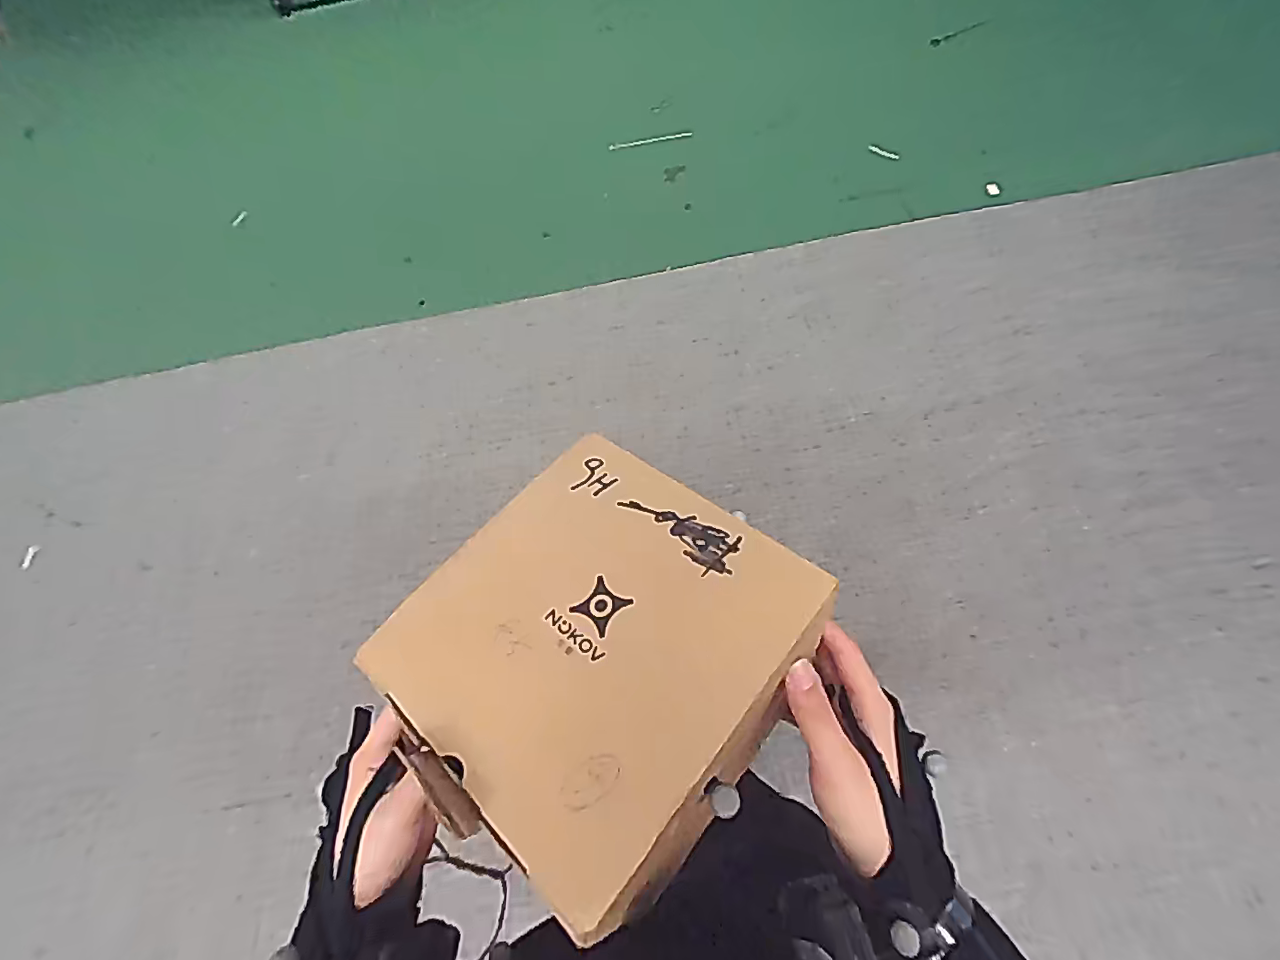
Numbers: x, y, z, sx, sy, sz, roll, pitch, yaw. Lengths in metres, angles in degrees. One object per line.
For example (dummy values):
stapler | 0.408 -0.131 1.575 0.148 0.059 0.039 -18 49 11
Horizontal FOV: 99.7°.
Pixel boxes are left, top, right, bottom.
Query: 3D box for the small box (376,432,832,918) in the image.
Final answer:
small box | -0.008 0.111 0.329 0.168 0.176 0.179 33 68 28
